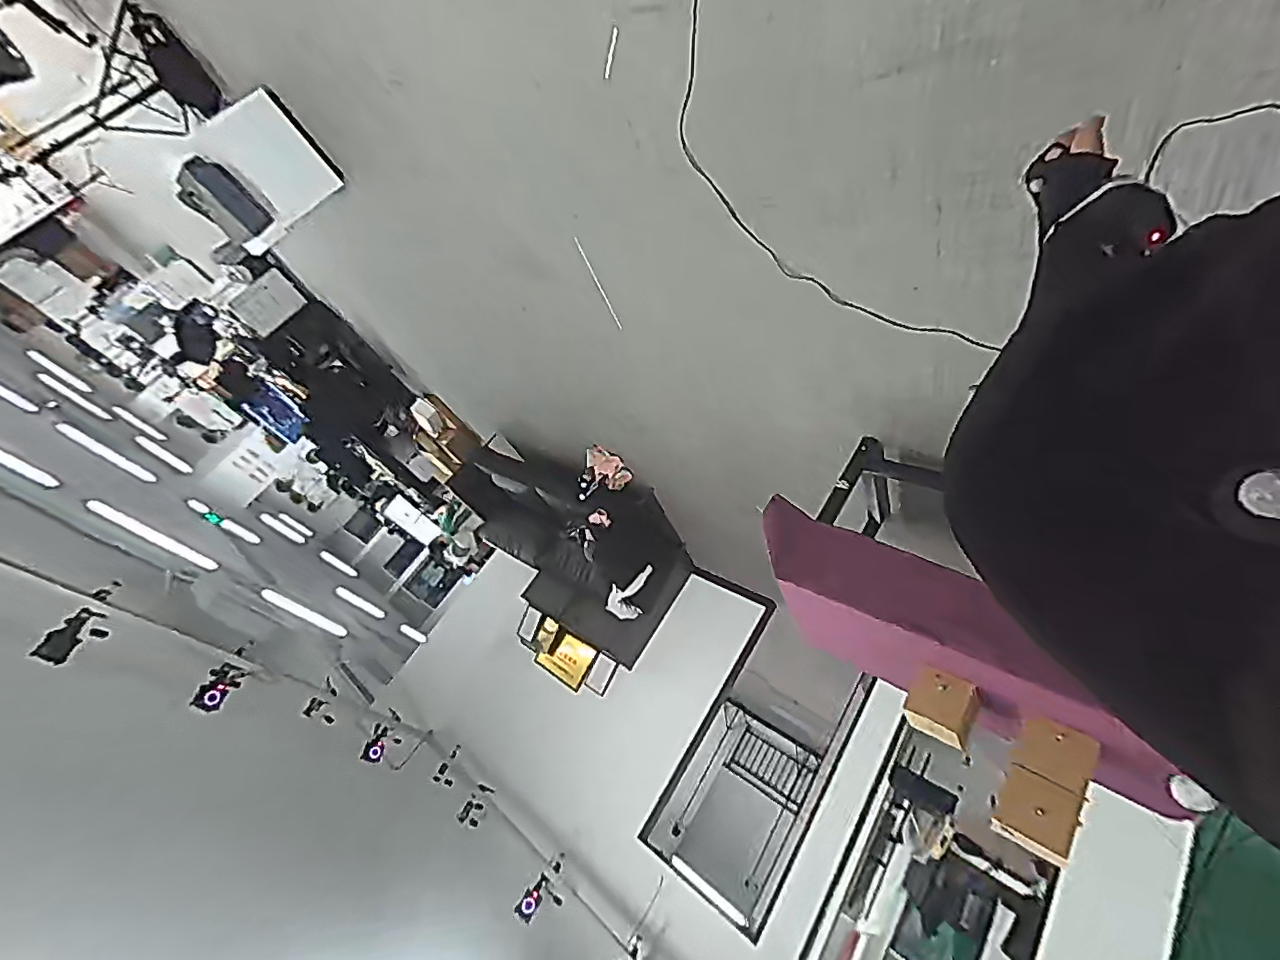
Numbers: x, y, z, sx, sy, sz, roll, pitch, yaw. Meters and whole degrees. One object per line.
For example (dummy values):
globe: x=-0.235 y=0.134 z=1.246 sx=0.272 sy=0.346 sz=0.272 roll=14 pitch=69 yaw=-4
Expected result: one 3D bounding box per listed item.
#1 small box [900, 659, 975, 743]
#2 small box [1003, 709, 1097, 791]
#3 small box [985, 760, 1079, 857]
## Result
small box: x=0.993 y=0.729 z=1.794 sx=0.168 sy=0.176 sz=0.179 roll=15 pitch=150 yaw=45
small box: x=1.208 y=0.804 z=1.600 sx=0.179 sy=0.176 sz=0.168 roll=19 pitch=154 yaw=41
small box: x=1.116 y=0.928 z=1.545 sx=0.179 sy=0.176 sz=0.168 roll=18 pitch=153 yaw=40
